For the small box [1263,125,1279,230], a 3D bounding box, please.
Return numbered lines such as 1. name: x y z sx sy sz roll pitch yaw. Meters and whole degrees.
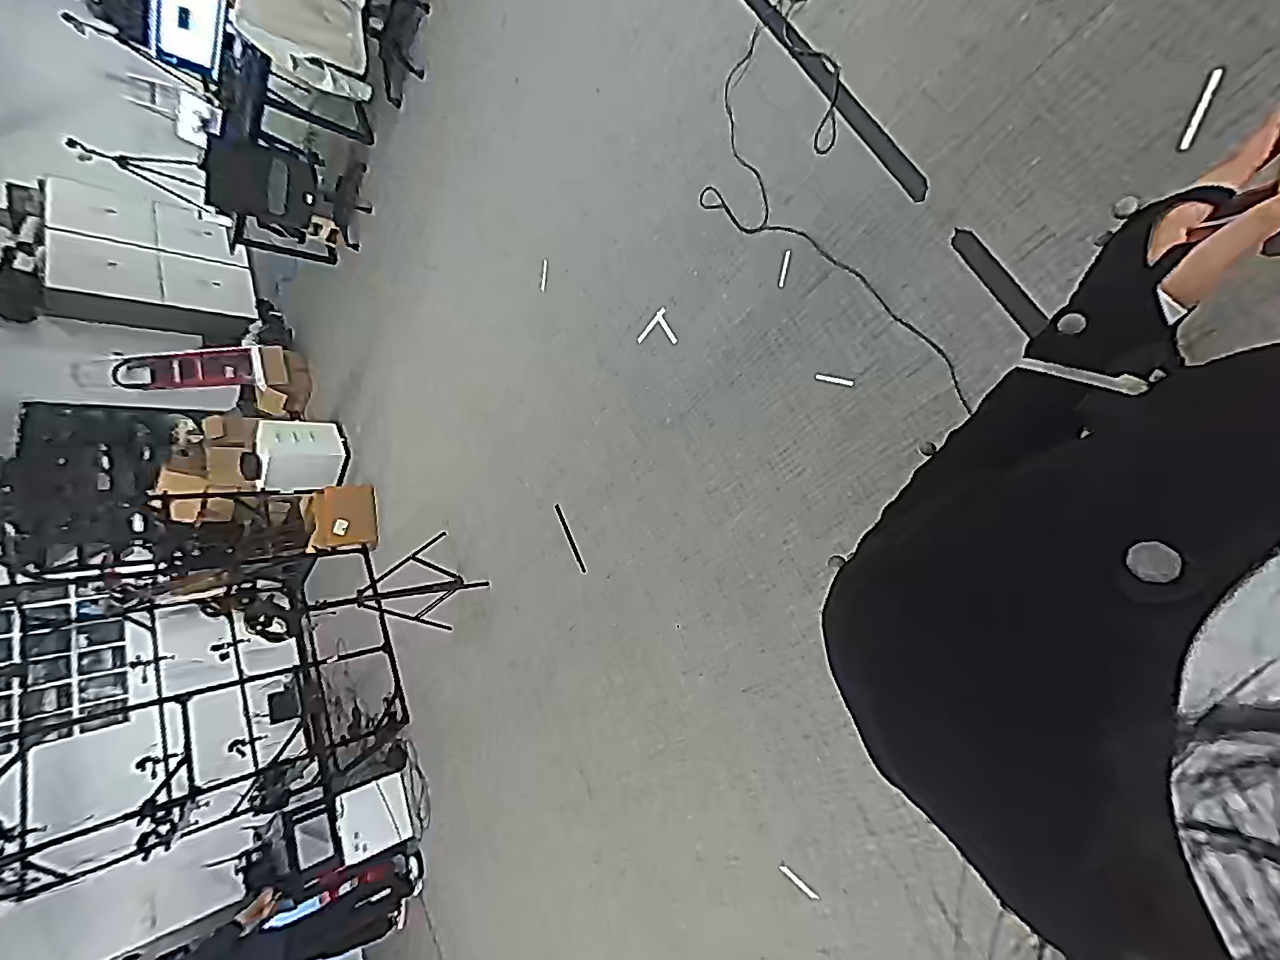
1. small box: 0.499 -0.251 0.309 0.168 0.176 0.179 12 105 46
